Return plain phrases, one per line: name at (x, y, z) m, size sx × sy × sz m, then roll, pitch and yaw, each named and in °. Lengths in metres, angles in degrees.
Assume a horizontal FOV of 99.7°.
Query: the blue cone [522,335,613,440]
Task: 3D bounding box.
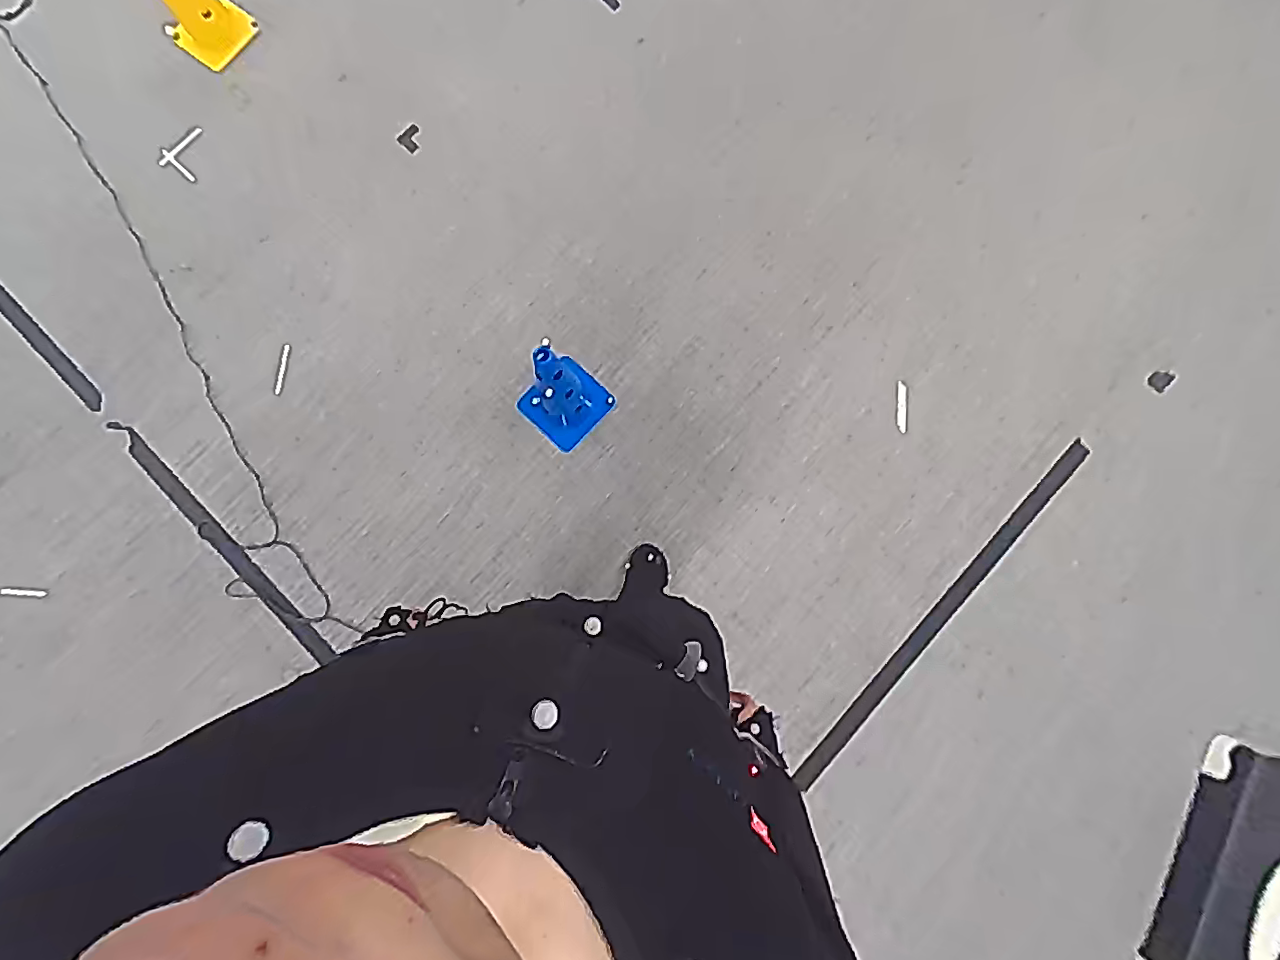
blue cone at (-0.194, -0.241, 1.268) m, size 0.193 × 0.380 × 0.192 m, roll 44°, pitch 84°, yaw 6°
